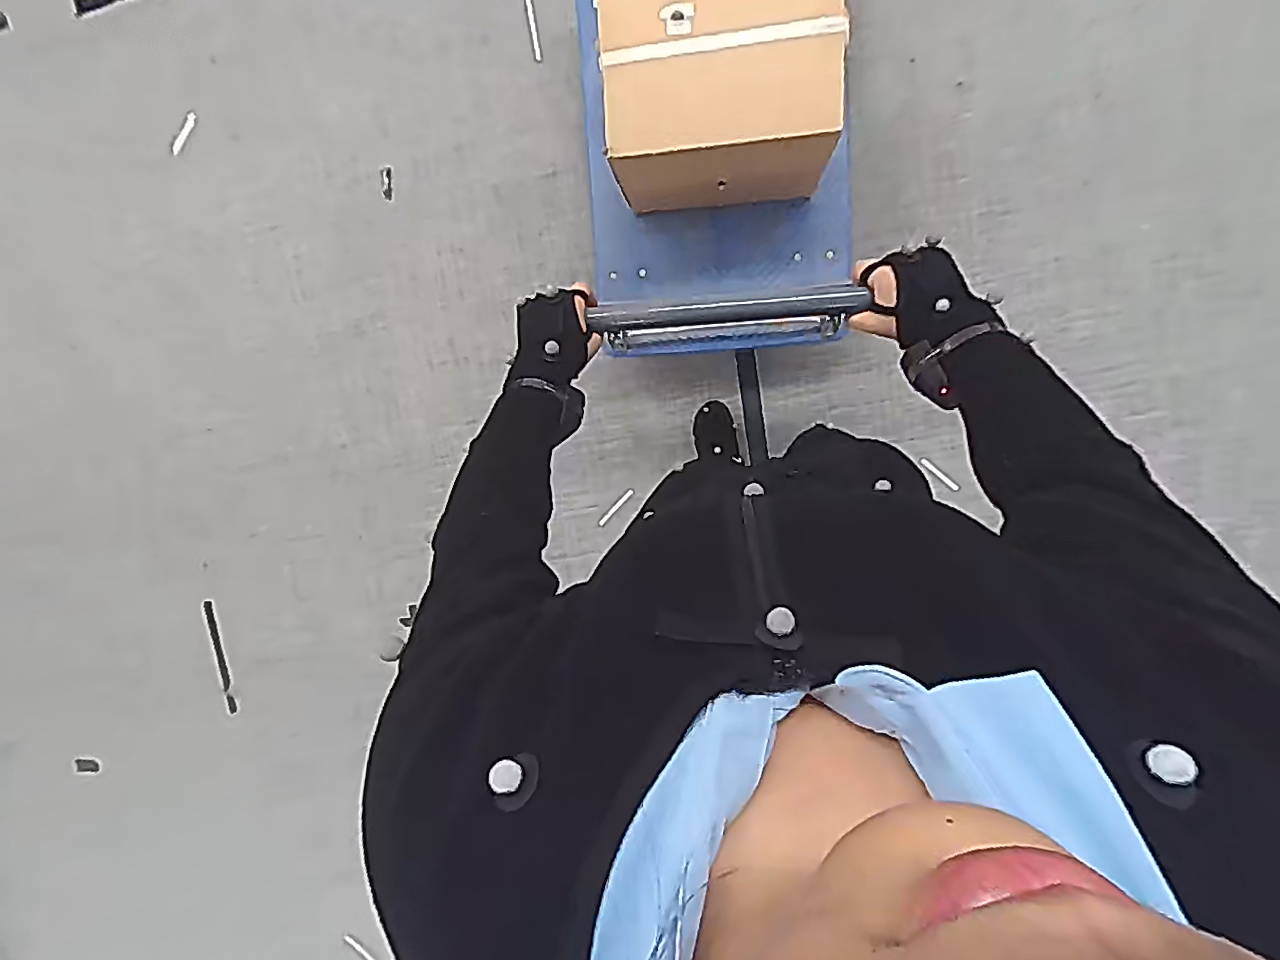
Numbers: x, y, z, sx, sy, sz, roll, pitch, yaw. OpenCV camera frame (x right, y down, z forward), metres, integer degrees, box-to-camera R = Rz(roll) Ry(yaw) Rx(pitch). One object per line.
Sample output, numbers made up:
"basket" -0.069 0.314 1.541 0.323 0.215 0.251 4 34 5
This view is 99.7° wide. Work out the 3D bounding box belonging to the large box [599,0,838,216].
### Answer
"large box" 0.157 -0.752 1.074 0.408 0.320 0.320 -2 98 10
